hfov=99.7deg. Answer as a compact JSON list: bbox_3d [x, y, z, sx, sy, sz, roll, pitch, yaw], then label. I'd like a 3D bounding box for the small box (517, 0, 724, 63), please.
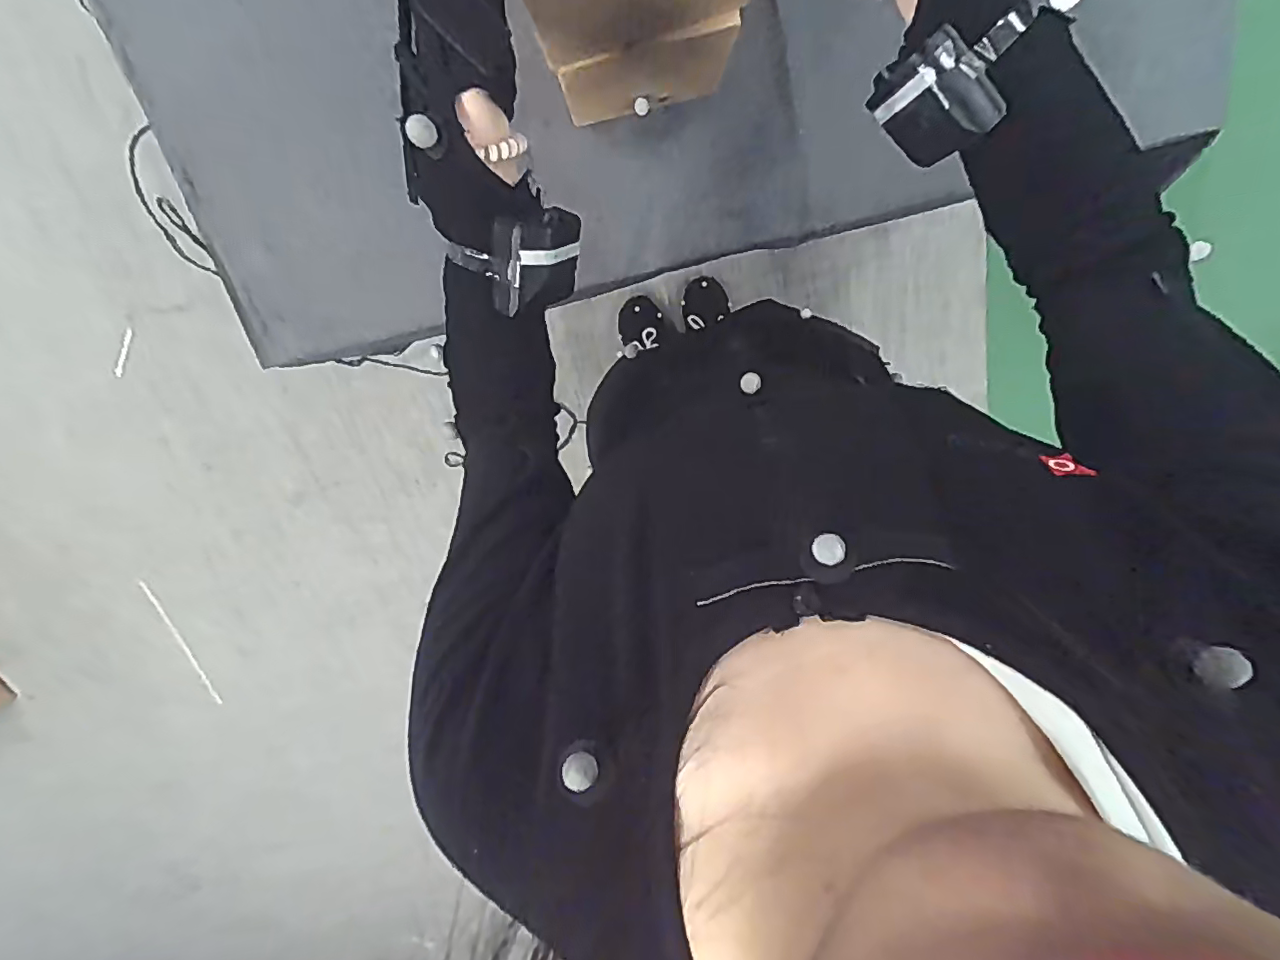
[{"bbox_3d":[-0.019,-0.426,0.361,0.179,0.176,0.168,-14,106,5],"label":"small box"}]

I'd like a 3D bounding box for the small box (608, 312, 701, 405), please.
[{"bbox_3d":[0.033,-0.309,1.357,0.179,0.176,0.168,23,119,10],"label":"small box"}]

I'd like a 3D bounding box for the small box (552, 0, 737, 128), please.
[{"bbox_3d":[-0.014,-0.475,0.517,0.168,0.176,0.179,-12,108,4],"label":"small box"}]
